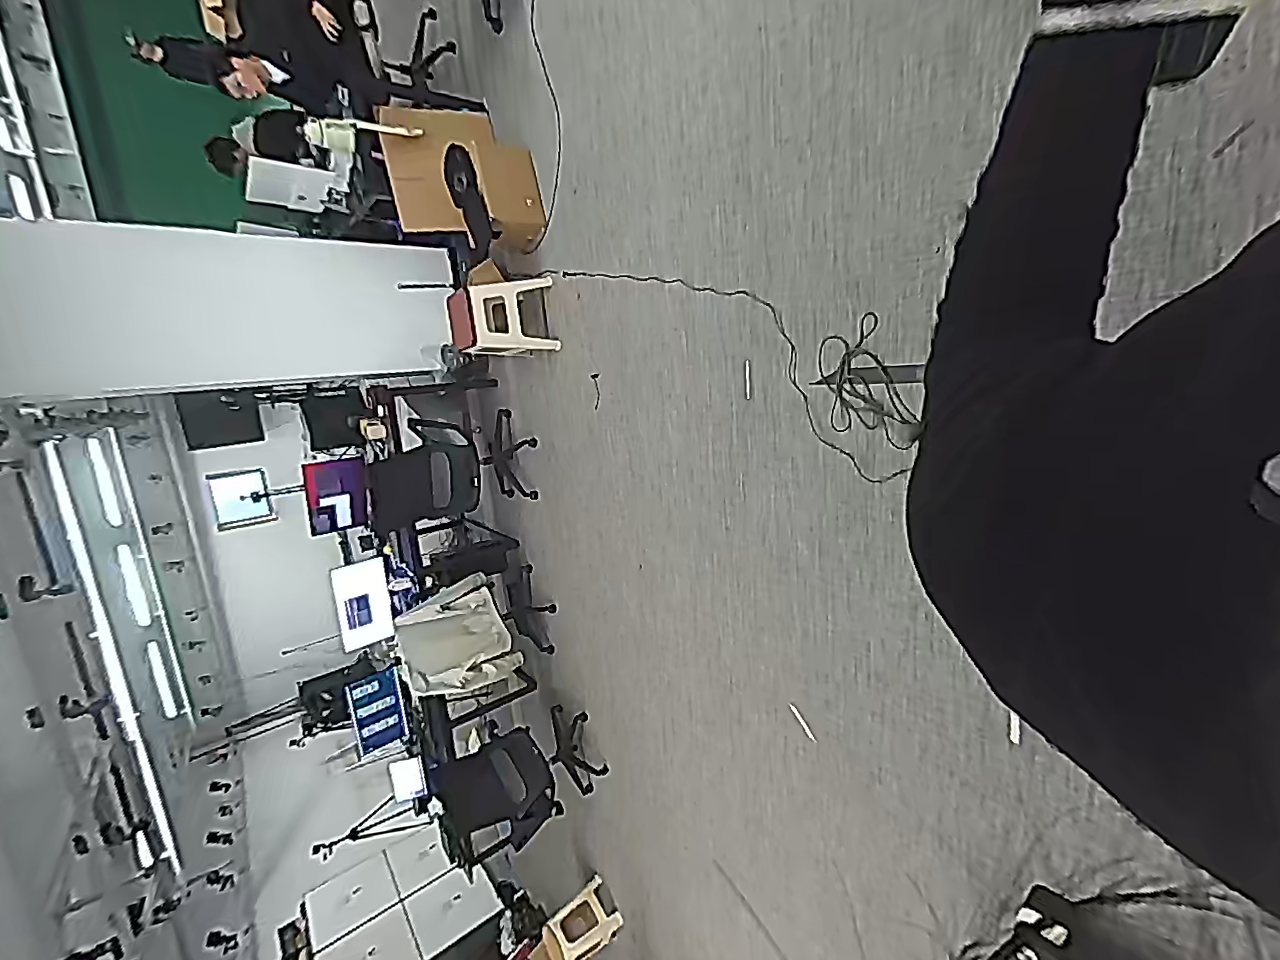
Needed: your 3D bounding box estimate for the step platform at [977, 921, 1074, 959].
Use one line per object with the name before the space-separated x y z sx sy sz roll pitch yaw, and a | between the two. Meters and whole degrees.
step platform | 1.071 1.287 1.104 0.684 0.204 0.286 8 109 53
